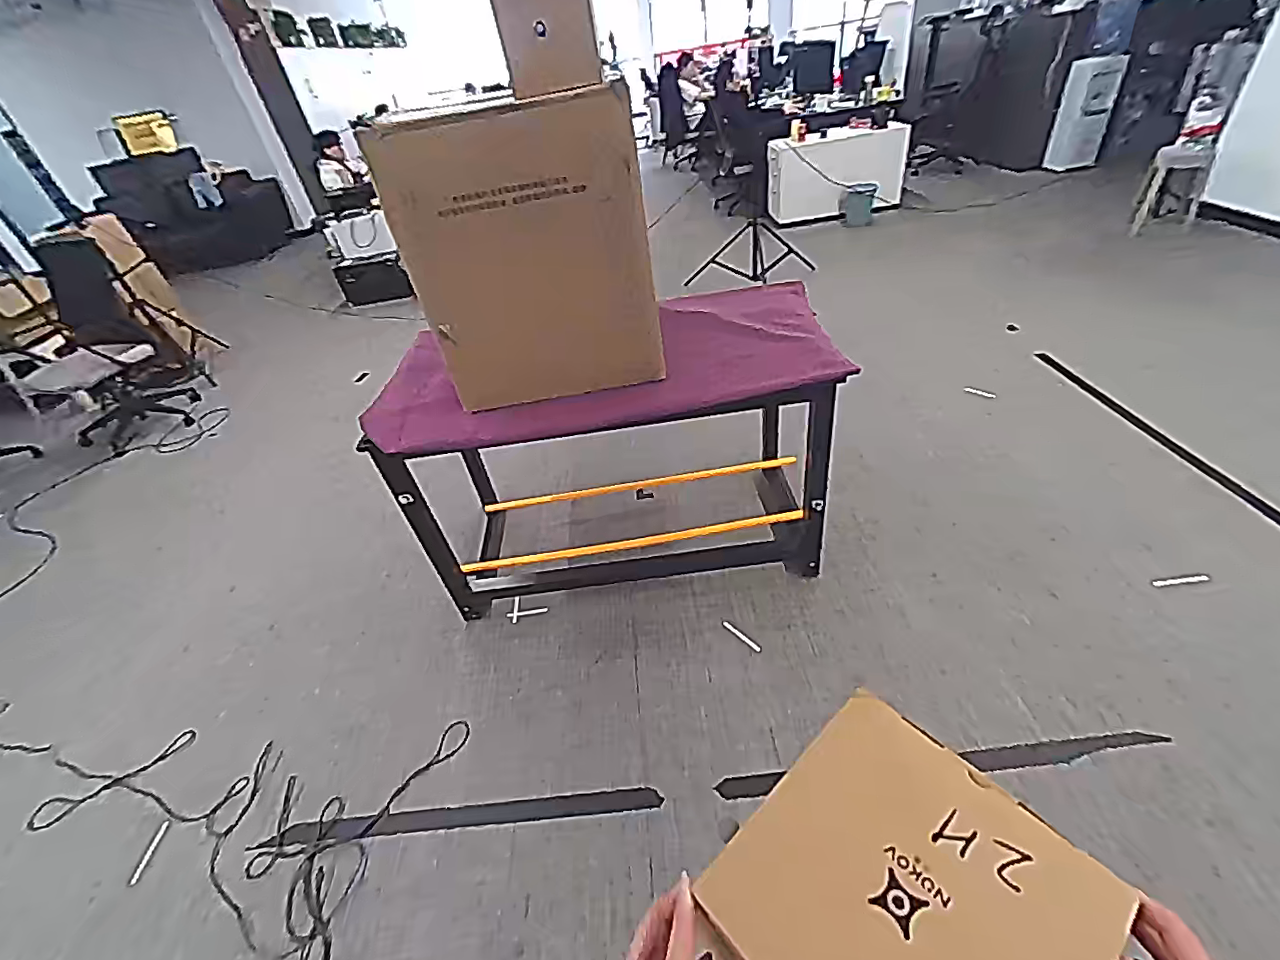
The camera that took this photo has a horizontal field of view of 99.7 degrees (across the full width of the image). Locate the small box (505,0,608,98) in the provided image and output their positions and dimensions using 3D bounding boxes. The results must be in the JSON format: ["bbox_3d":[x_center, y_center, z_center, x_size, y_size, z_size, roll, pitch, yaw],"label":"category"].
[{"bbox_3d":[-0.172,-0.936,1.159,0.179,0.176,0.168,-10,38,2],"label":"small box"}]
